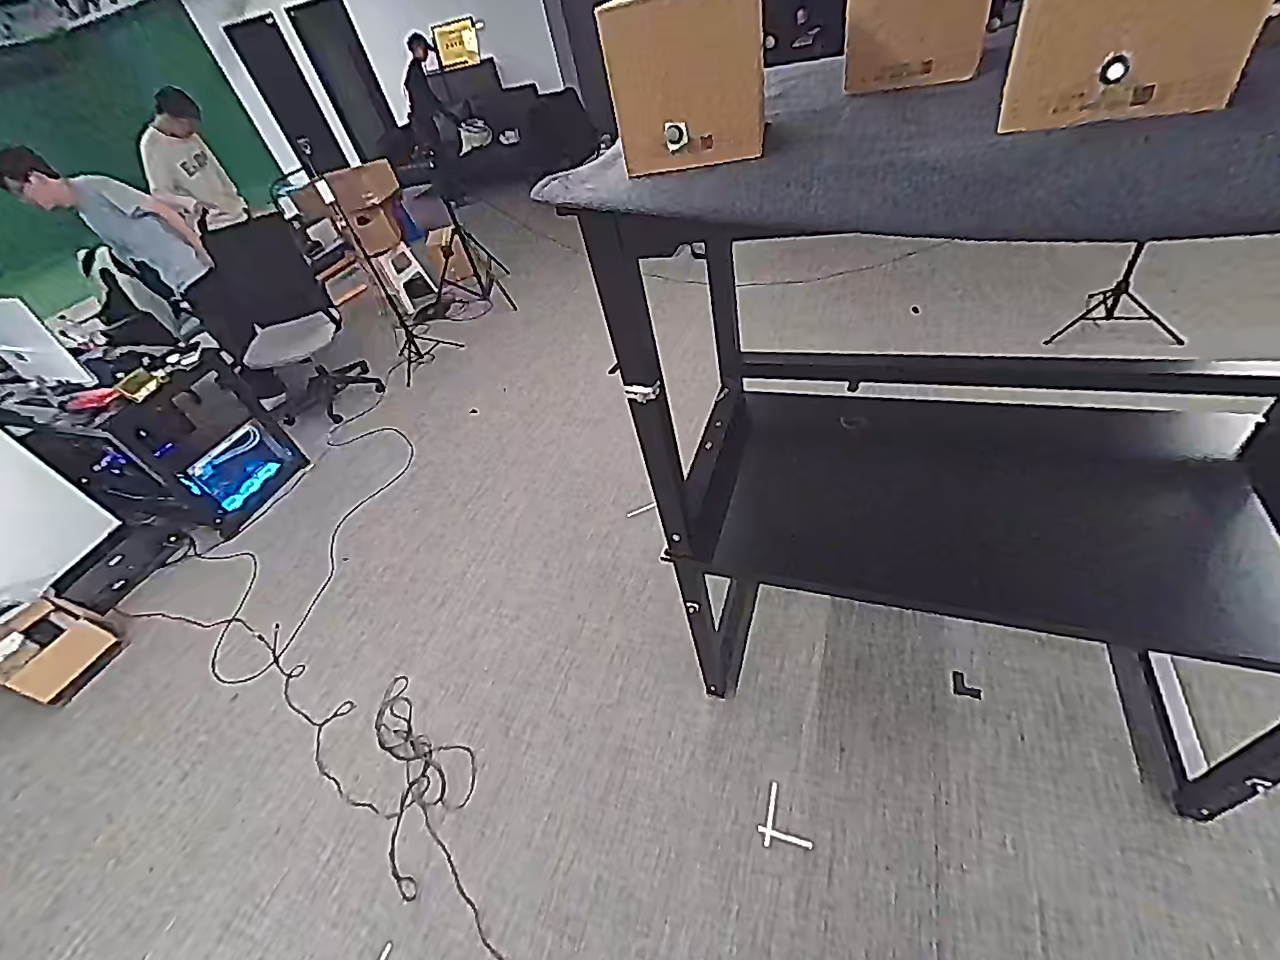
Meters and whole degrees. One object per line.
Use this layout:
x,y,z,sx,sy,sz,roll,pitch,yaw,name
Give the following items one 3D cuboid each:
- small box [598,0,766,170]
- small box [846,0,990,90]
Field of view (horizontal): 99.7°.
0.064,-0.500,0.660,0.168,0.176,0.179,0,45,16,small box
0.378,-0.646,0.724,0.168,0.176,0.179,10,48,26,small box
